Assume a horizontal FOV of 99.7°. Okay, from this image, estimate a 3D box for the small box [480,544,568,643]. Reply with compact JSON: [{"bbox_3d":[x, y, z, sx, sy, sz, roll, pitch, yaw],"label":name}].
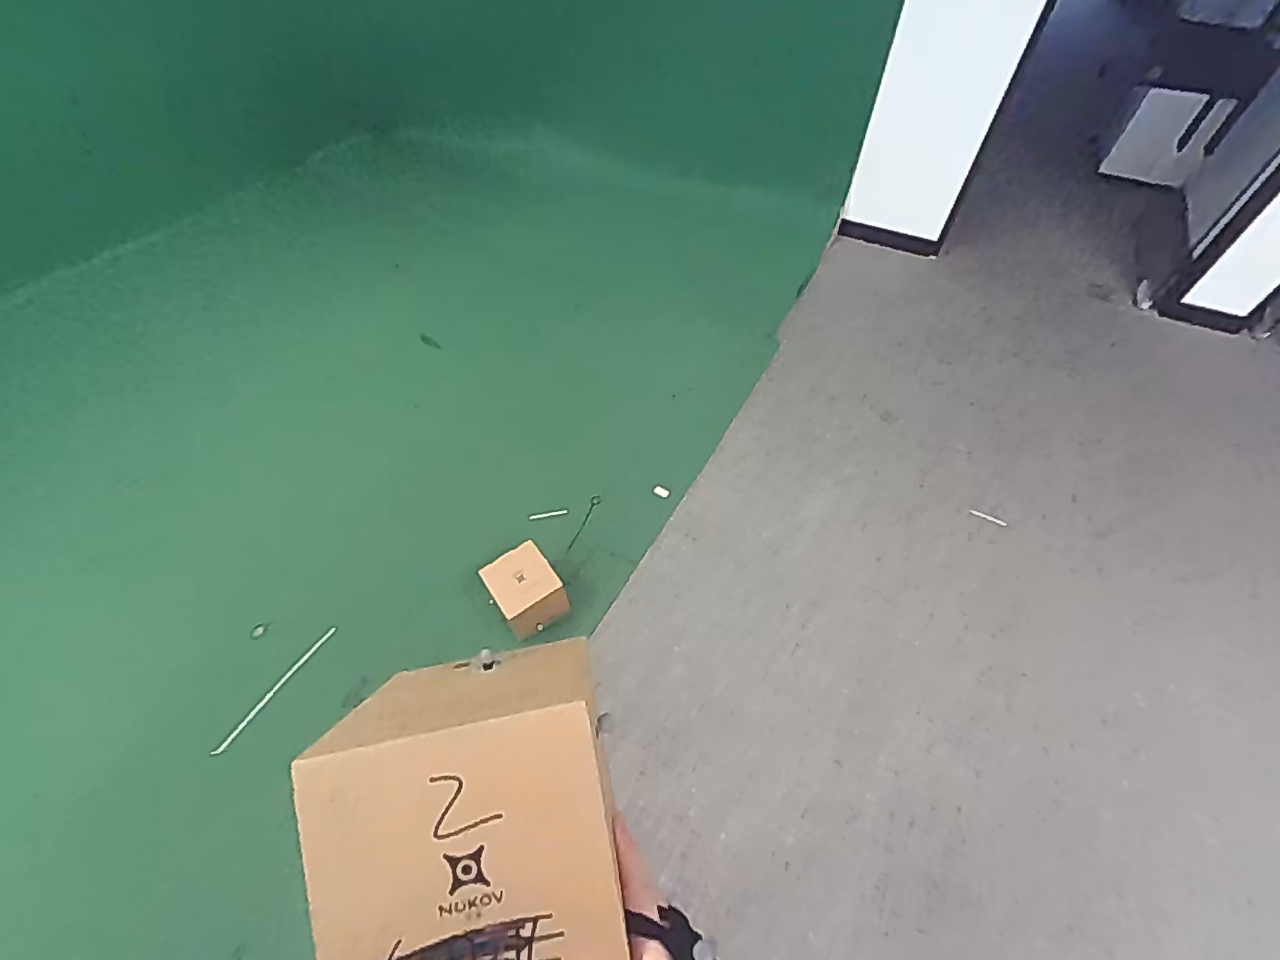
[{"bbox_3d":[-0.317,0.317,1.497,0.168,0.176,0.179,-31,58,-20],"label":"small box"}]
